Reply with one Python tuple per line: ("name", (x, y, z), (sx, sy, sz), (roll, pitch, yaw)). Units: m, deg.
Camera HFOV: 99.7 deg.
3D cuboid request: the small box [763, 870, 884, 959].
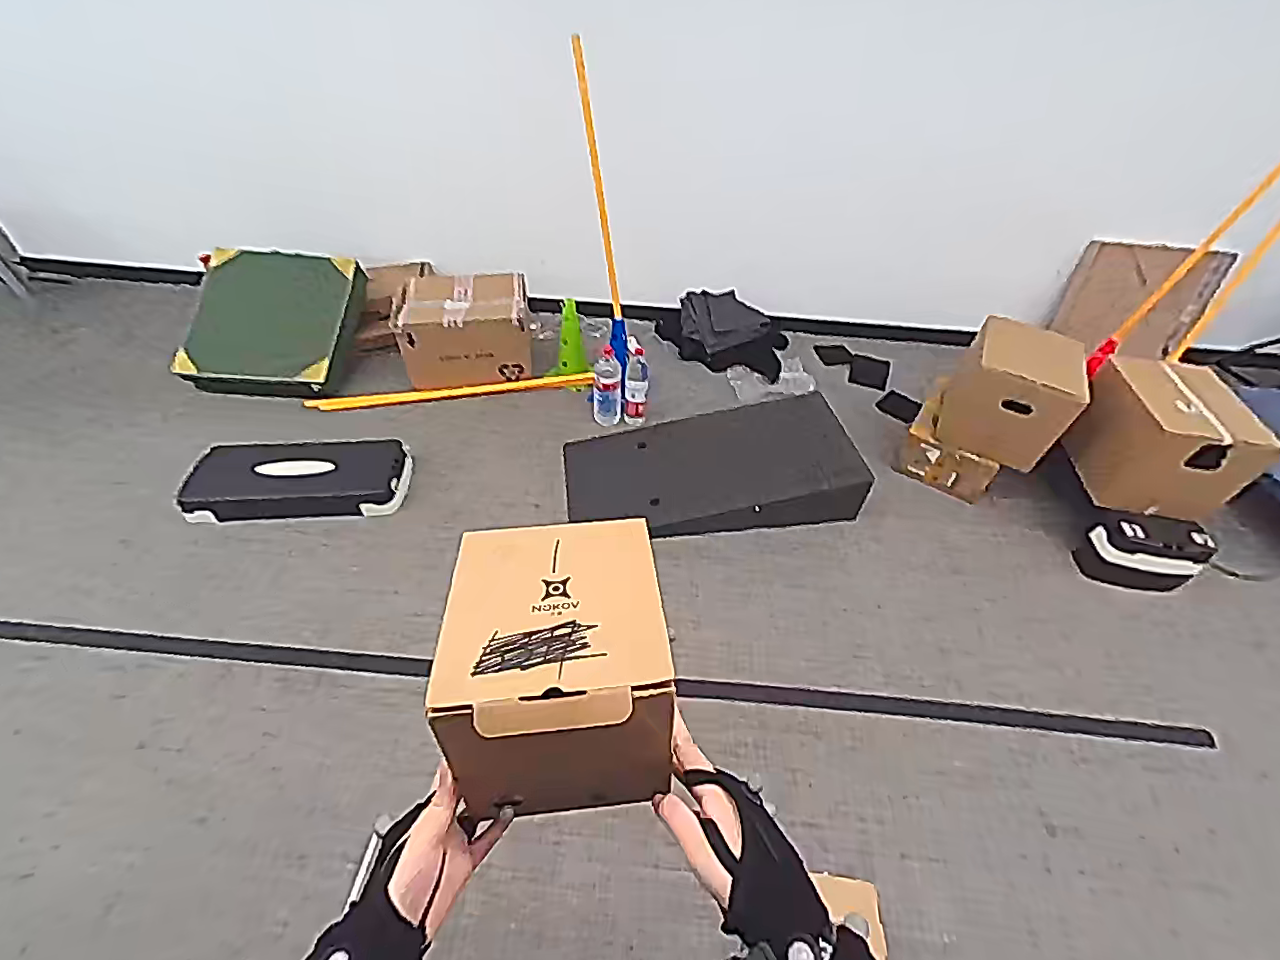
("small box", (0.336, 0.858, 1.011), (0.179, 0.176, 0.168), (8, 45, 4))
